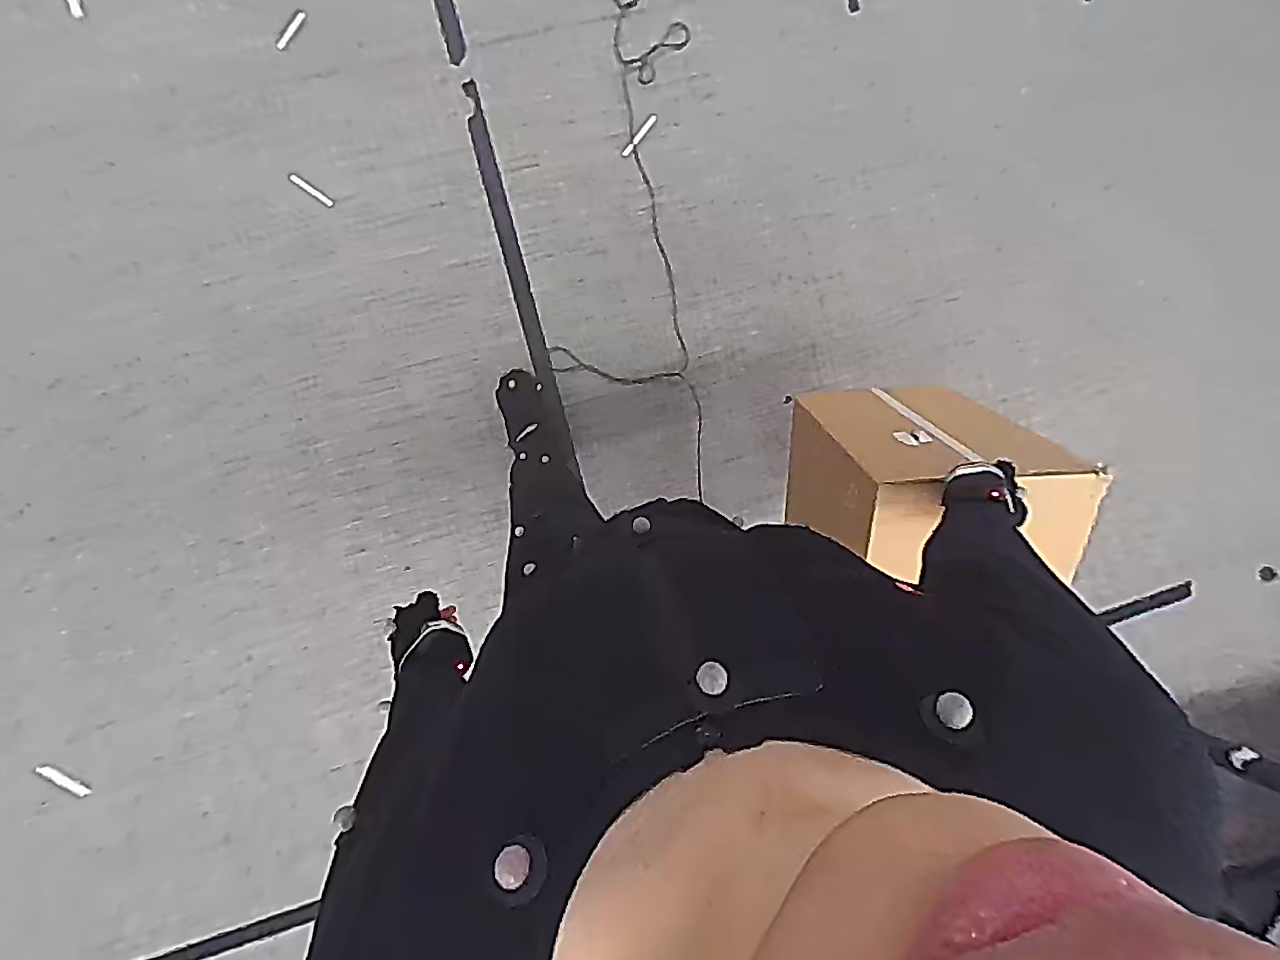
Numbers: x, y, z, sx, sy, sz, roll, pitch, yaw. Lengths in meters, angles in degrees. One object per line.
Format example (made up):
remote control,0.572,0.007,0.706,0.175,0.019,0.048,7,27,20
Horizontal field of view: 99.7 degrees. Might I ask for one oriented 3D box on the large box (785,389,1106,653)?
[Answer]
large box,0.479,0.047,0.974,0.320,0.408,0.320,-3,117,0
